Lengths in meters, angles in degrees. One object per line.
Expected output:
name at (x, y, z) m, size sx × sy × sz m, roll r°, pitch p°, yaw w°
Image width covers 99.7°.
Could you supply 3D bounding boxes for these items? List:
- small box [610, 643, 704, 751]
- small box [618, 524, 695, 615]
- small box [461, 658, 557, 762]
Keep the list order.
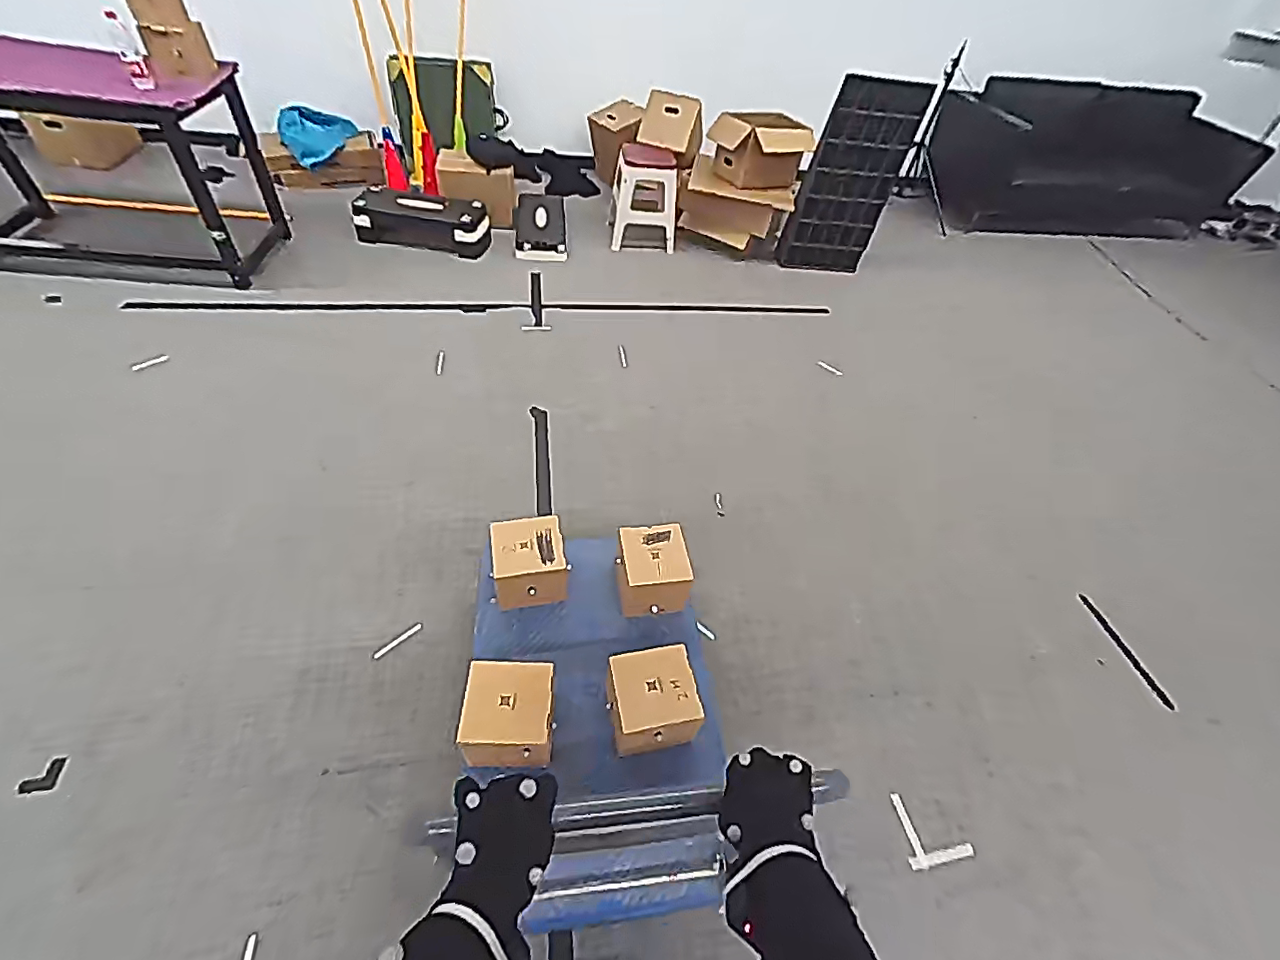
small box at (0.028, 0.491, 1.220) m, size 0.179 × 0.176 × 0.168 m, roll -6°, pitch 50°, yaw -12°
small box at (0.035, 0.239, 1.445) m, size 0.168 × 0.176 × 0.179 m, roll -3°, pitch 50°, yaw -11°
small box at (-0.275, 0.501, 1.172) m, size 0.179 × 0.176 × 0.168 m, roll 4°, pitch 48°, yaw -6°
